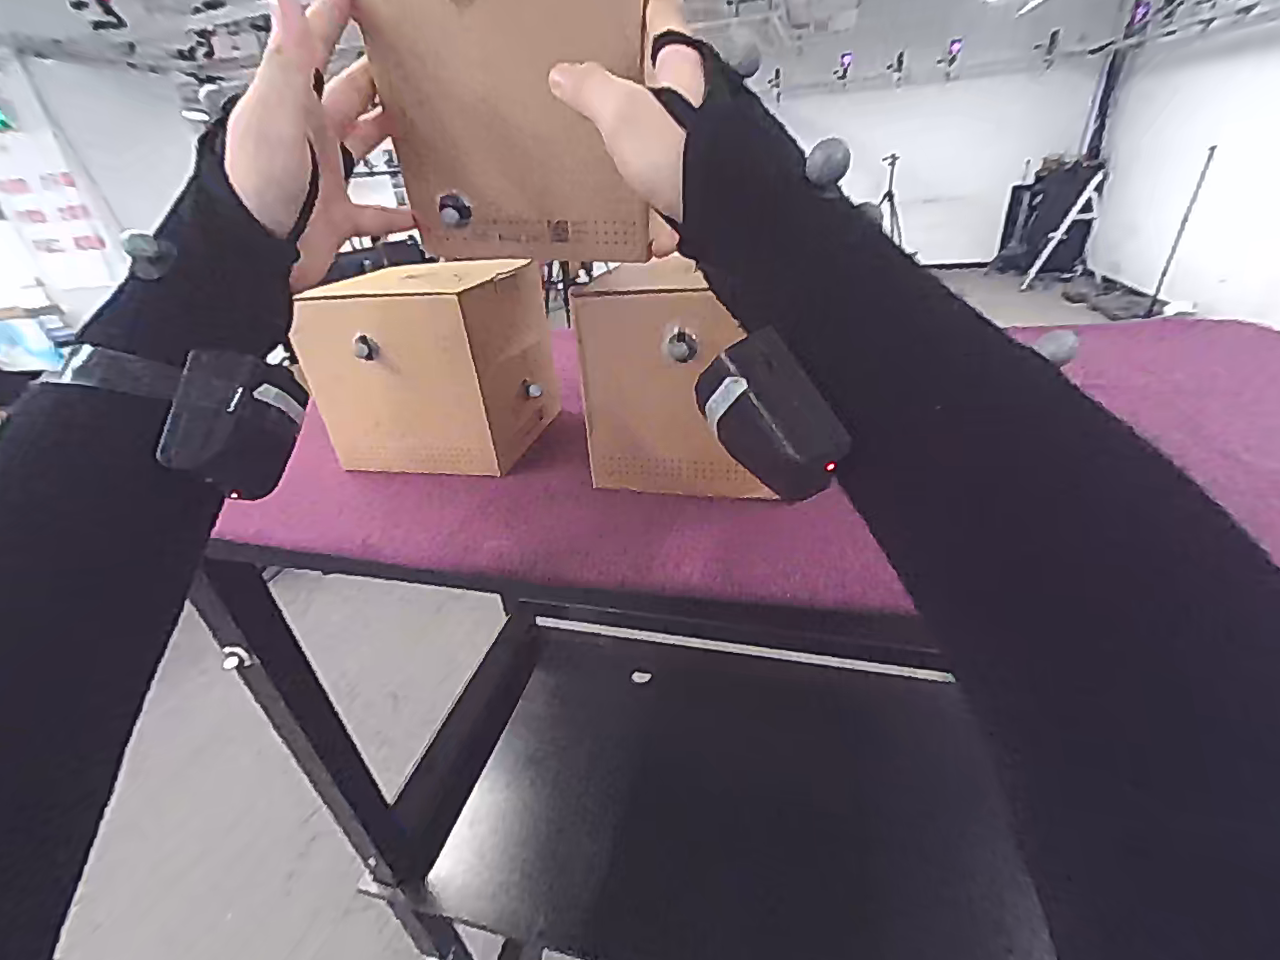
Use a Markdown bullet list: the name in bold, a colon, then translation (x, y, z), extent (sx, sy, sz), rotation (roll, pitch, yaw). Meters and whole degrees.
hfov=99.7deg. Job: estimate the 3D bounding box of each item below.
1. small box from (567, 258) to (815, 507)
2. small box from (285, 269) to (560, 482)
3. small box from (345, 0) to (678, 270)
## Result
- **small box**: translation (0.057, -0.089, 0.471), extent (0.179, 0.176, 0.168), rotation (4, 31, 15)
- **small box**: translation (-0.199, -0.109, 0.549), extent (0.179, 0.176, 0.168), rotation (2, 31, 14)
- **small box**: translation (-0.064, -0.263, 0.390), extent (0.168, 0.176, 0.179), rotation (5, 41, 9)
